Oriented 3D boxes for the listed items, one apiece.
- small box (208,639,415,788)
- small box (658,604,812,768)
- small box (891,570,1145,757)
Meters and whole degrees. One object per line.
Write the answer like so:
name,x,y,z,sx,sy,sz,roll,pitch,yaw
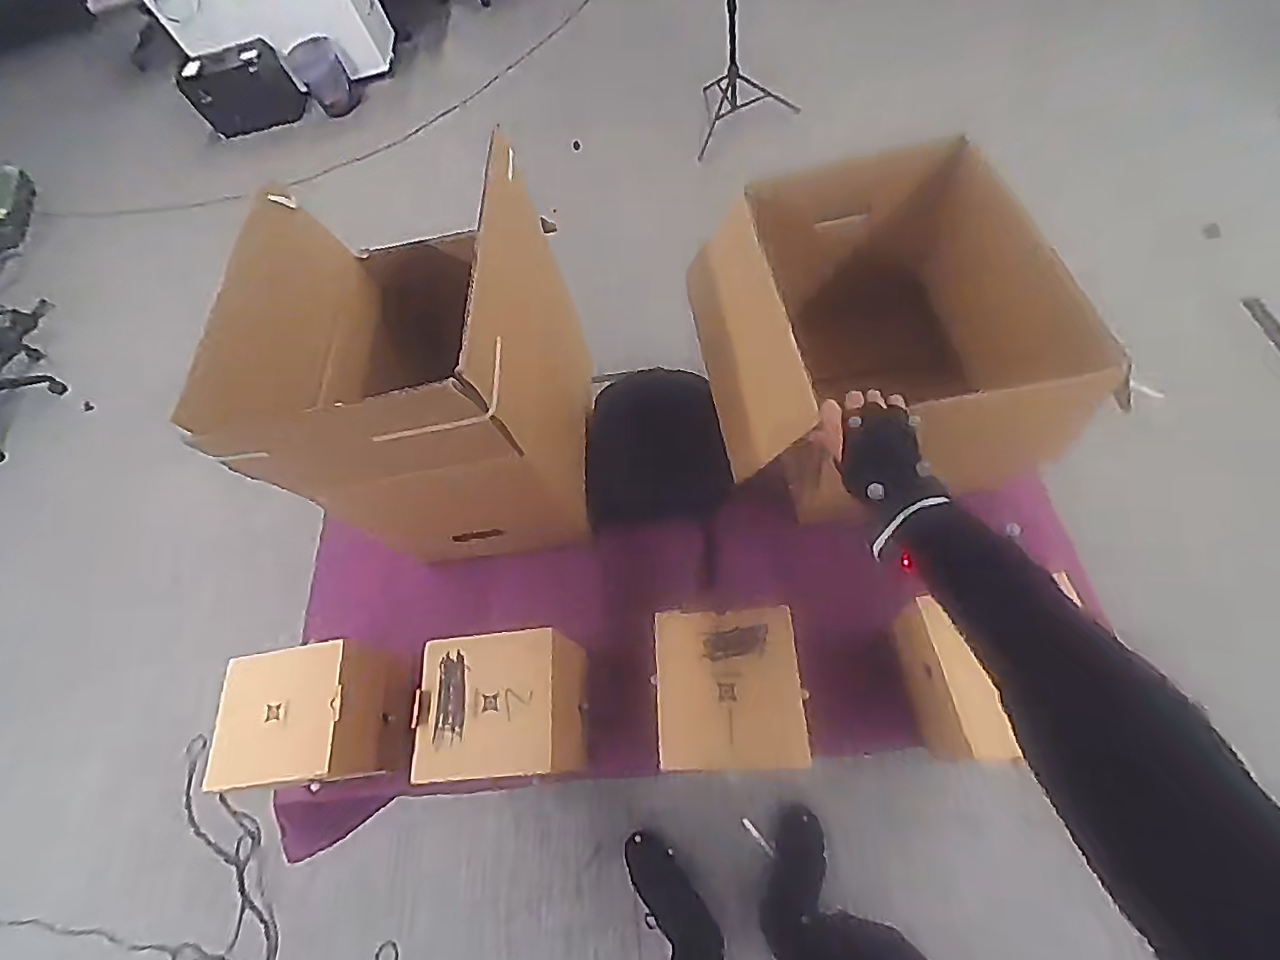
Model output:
small box,-0.454,0.338,0.777,0.179,0.176,0.168,-11,63,5
small box,0.116,0.268,0.693,0.168,0.176,0.179,-6,64,9
small box,0.423,0.226,0.649,0.168,0.176,0.179,-12,63,7
